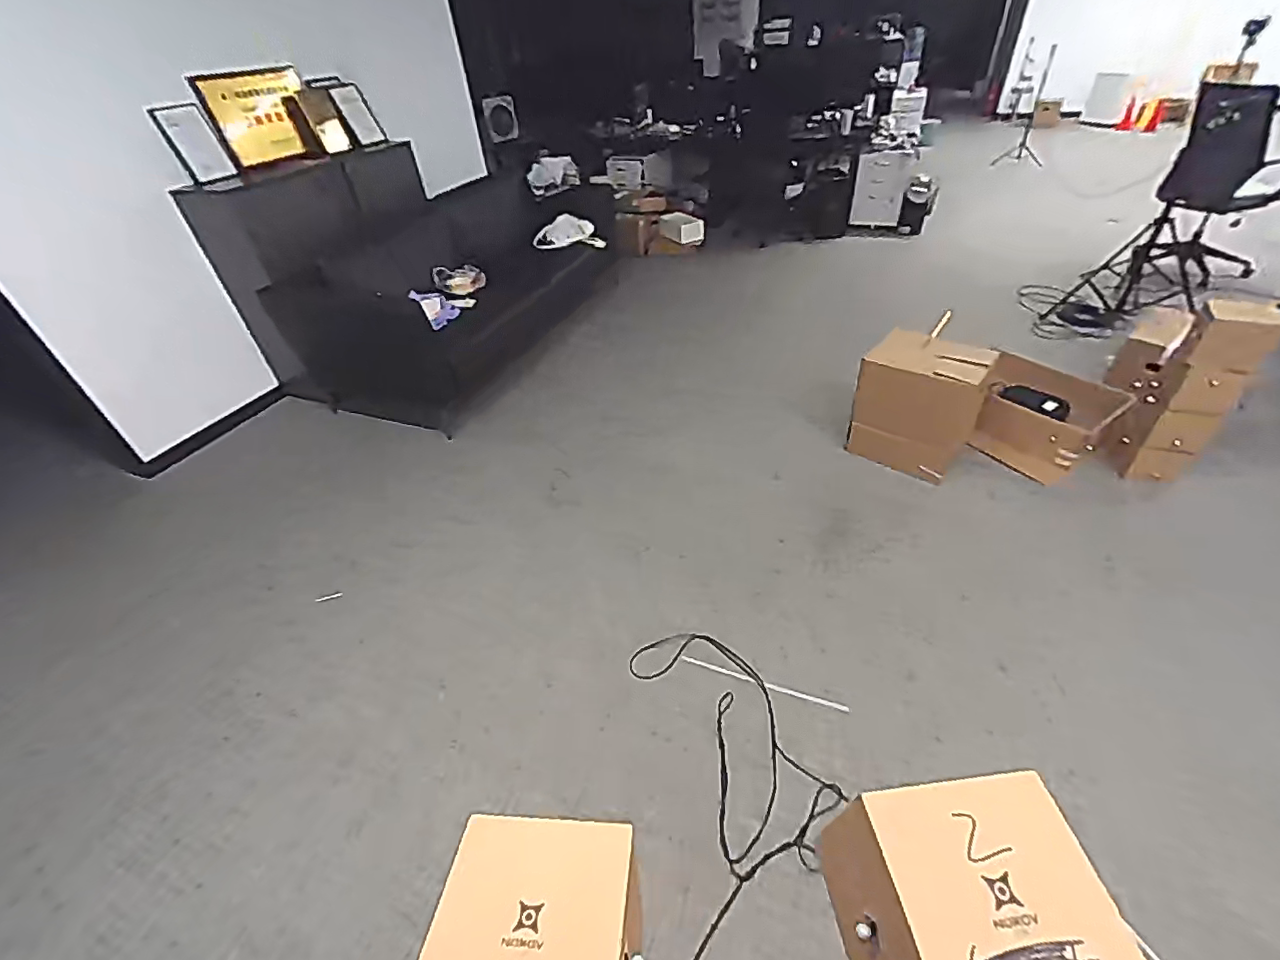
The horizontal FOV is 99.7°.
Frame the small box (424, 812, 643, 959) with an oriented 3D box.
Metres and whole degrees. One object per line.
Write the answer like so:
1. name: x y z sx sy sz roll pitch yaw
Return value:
1. small box: -0.087 0.445 0.495 0.168 0.176 0.179 0 29 6
